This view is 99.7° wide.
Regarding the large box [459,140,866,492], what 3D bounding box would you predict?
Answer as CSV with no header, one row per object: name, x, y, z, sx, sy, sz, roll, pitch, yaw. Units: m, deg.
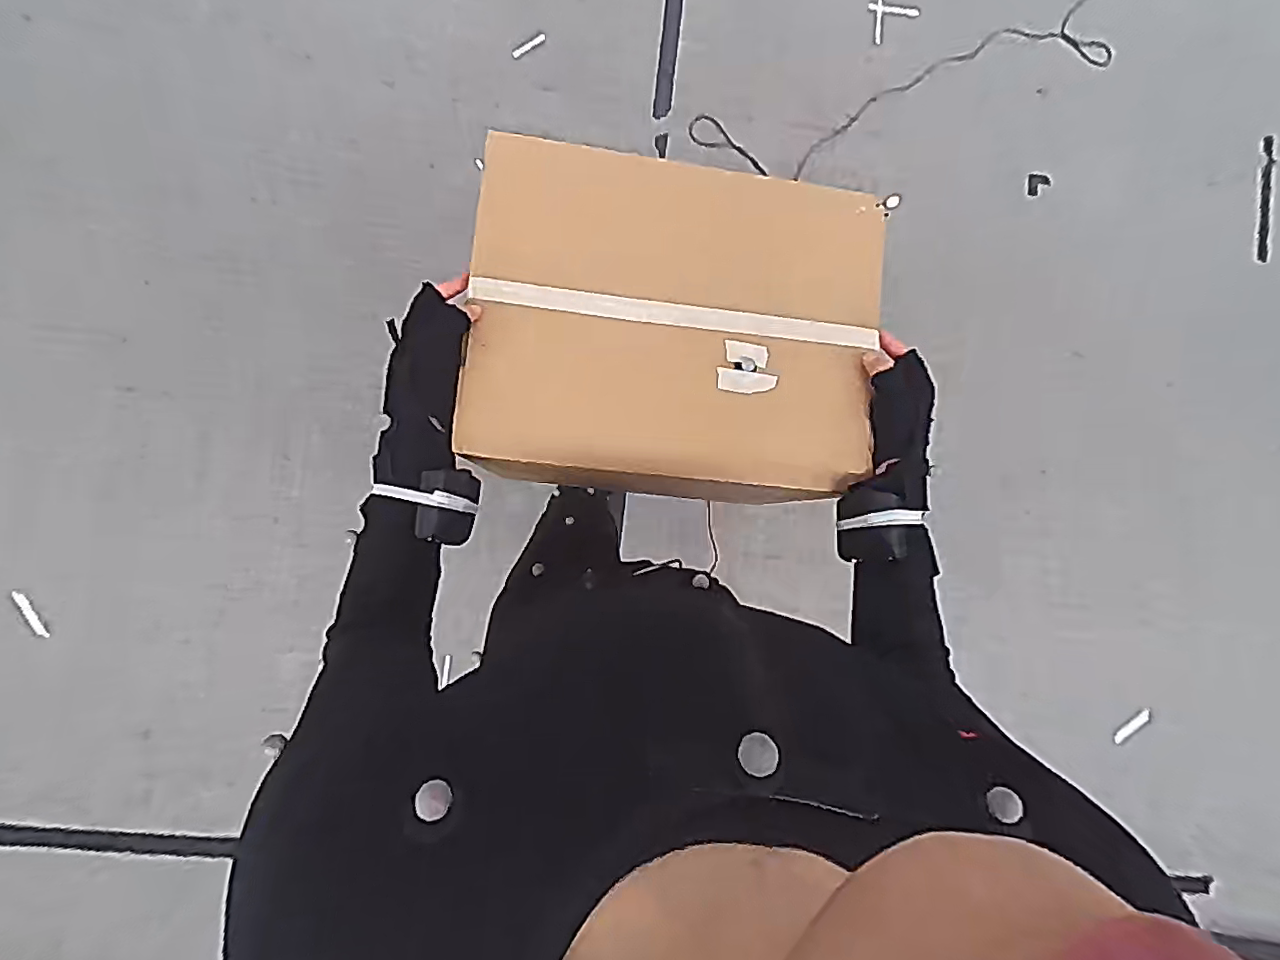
large box,0.014,-0.157,0.688,0.408,0.320,0.320,6,87,-7
